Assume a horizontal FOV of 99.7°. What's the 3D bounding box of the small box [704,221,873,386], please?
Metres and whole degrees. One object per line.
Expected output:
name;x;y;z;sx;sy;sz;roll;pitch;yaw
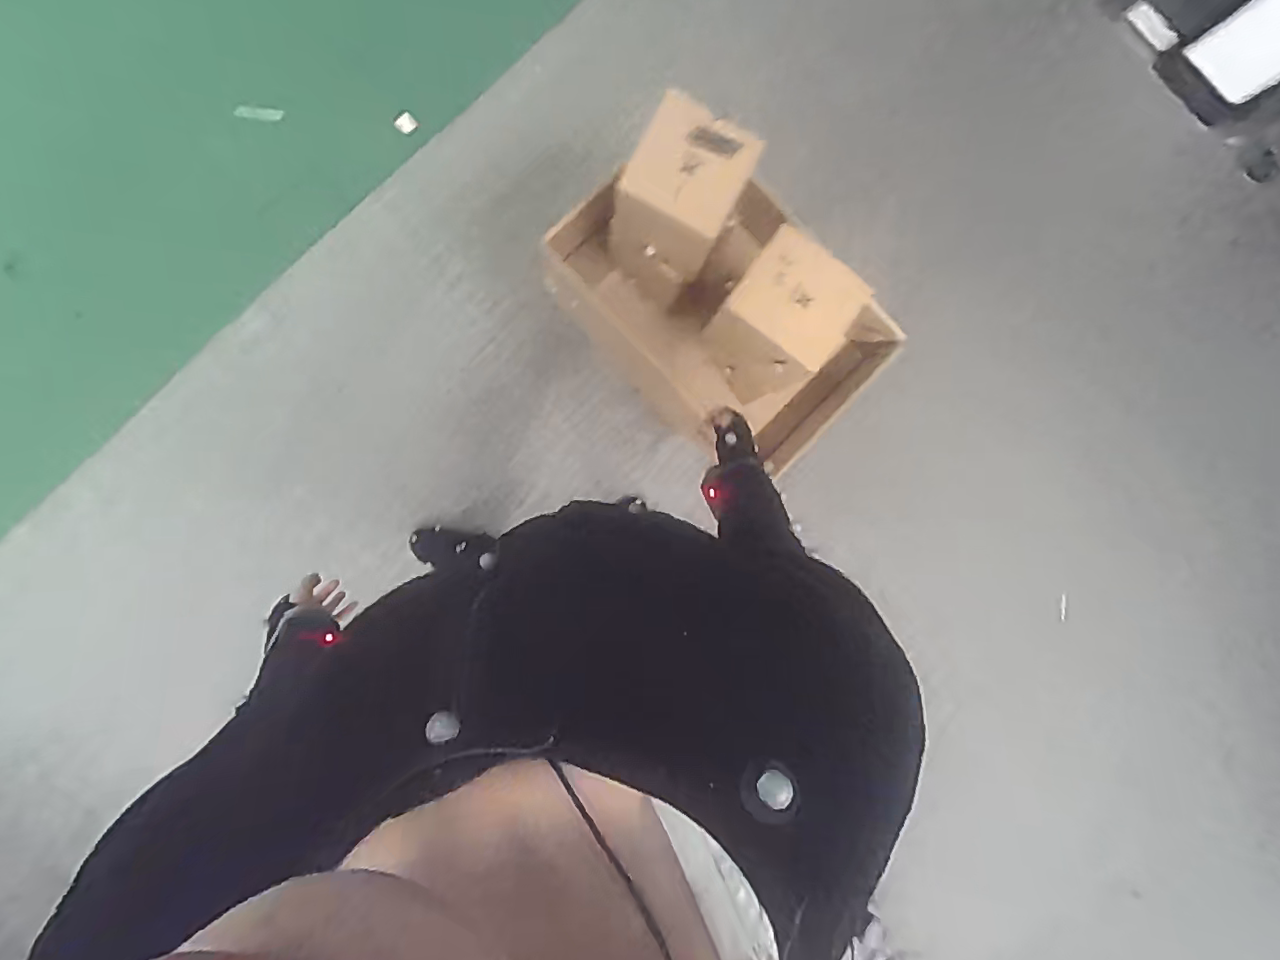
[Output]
small box;0.232;-0.273;0.887;0.179;0.176;0.168;37;84;-3

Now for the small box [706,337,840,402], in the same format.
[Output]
small box;0.245;-0.271;1.055;0.179;0.176;0.168;-35;92;-5

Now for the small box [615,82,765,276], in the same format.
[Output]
small box;0.068;-0.468;0.871;0.168;0.176;0.179;29;87;-5
